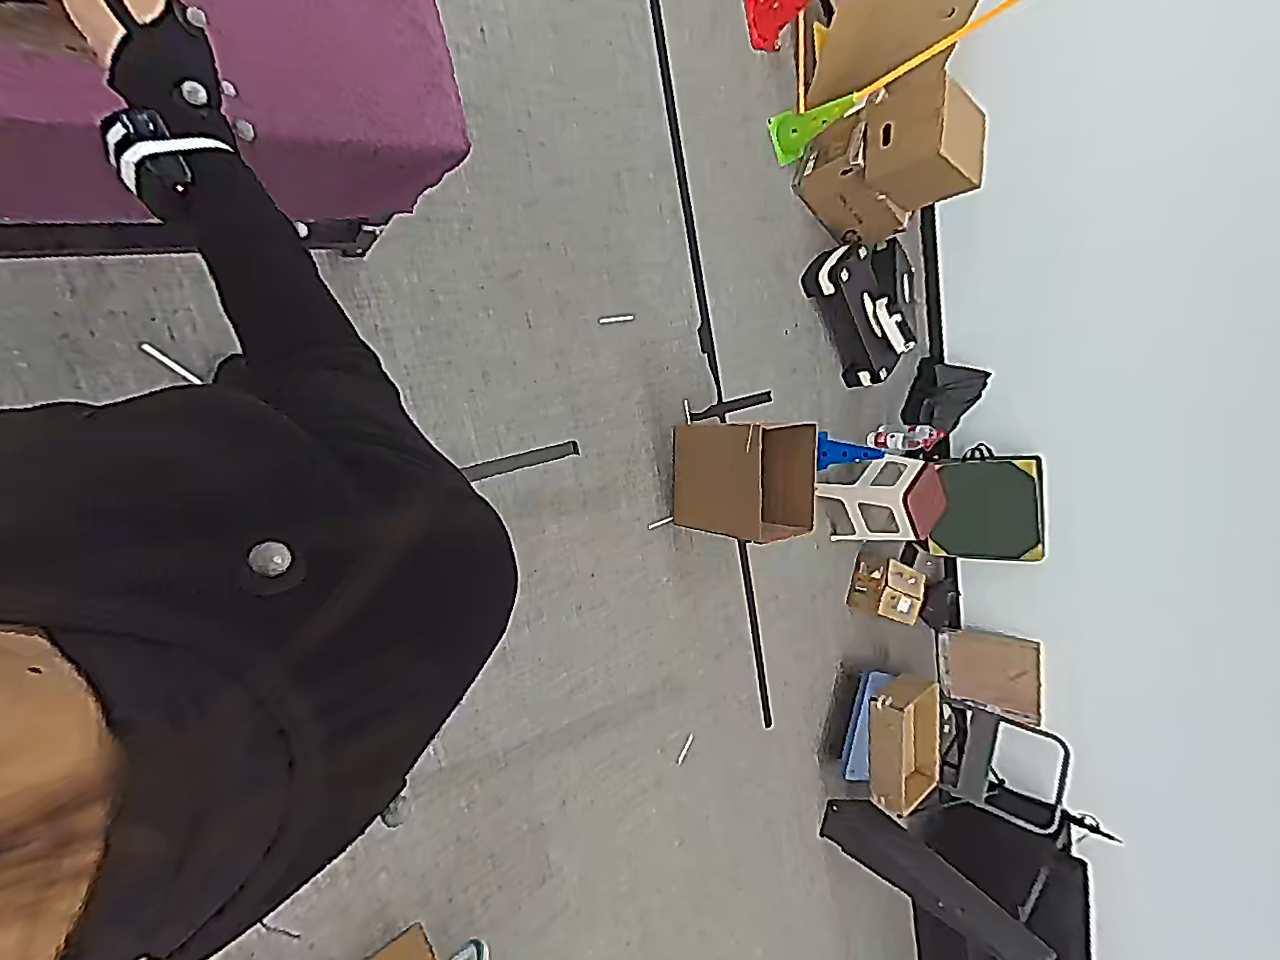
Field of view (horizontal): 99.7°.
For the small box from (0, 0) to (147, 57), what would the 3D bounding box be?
[{"bbox_3d":[-0.510,-0.454,0.409,0.168,0.176,0.179,-19,119,-34],"label":"small box"}]
